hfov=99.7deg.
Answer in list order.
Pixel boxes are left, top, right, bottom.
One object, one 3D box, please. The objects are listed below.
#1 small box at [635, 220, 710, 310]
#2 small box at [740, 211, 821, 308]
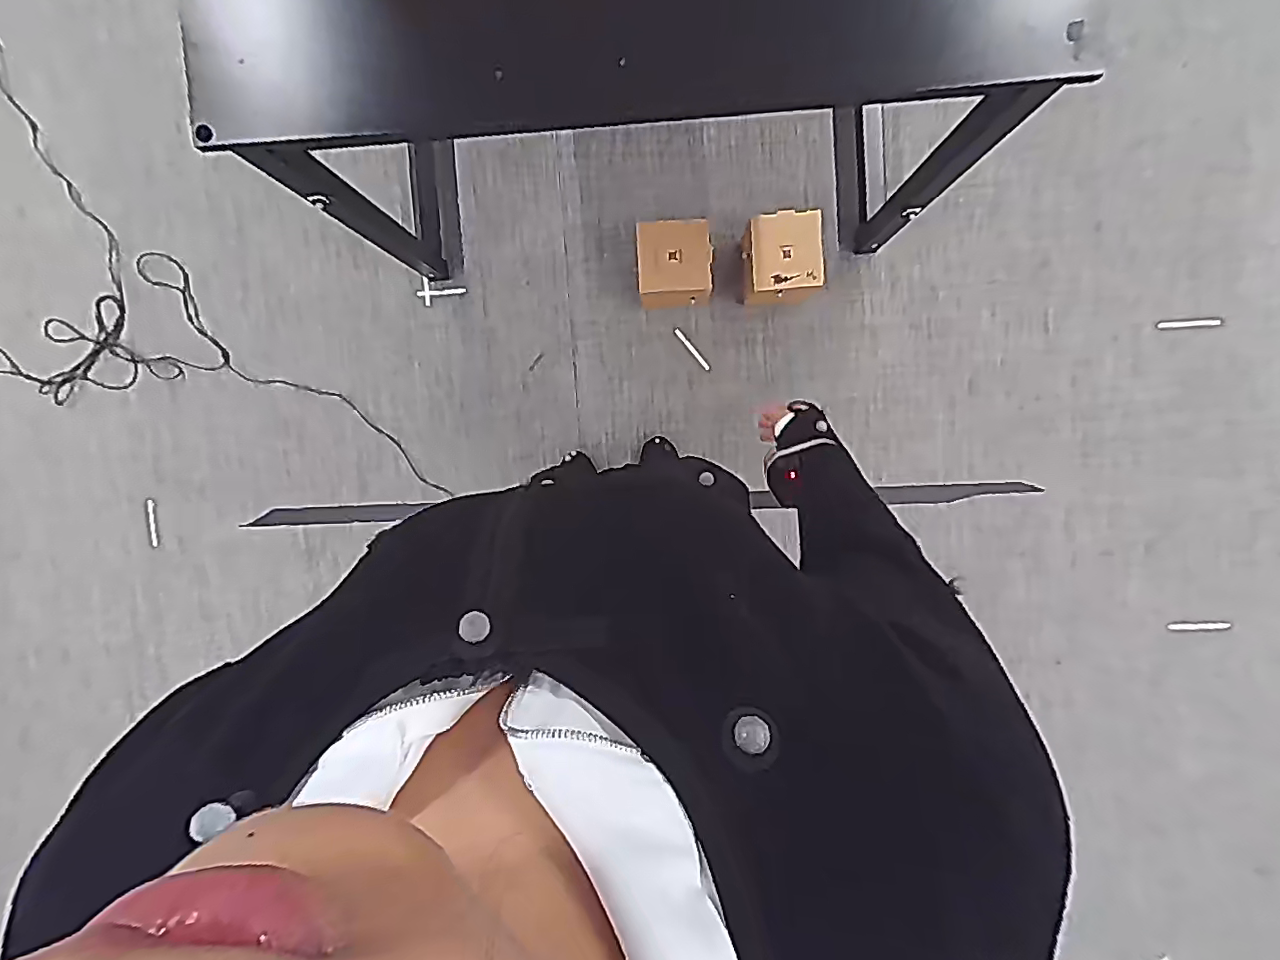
[{"bbox_3d":[0.081,-0.535,1.362,0.179,0.176,0.168,-3,94,4],"label":"small box"},{"bbox_3d":[0.343,-0.543,1.347,0.168,0.176,0.179,-3,94,4],"label":"small box"}]
